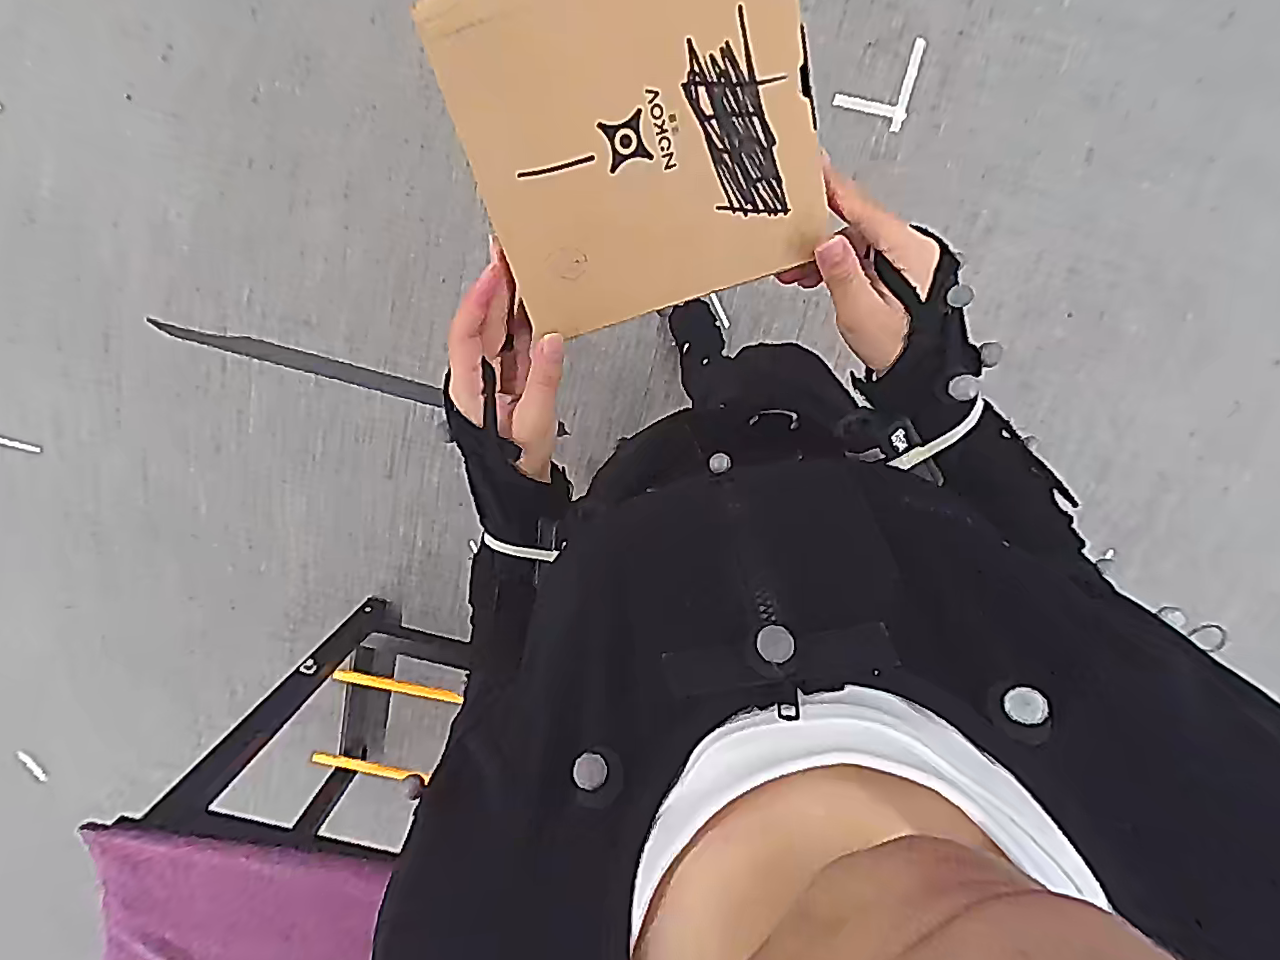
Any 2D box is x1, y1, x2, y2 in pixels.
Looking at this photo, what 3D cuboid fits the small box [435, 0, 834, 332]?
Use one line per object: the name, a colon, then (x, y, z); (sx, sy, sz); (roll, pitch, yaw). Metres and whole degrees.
small box: (0.002, -0.214, 0.352); (0.179, 0.176, 0.168); (-16, 114, 5)
